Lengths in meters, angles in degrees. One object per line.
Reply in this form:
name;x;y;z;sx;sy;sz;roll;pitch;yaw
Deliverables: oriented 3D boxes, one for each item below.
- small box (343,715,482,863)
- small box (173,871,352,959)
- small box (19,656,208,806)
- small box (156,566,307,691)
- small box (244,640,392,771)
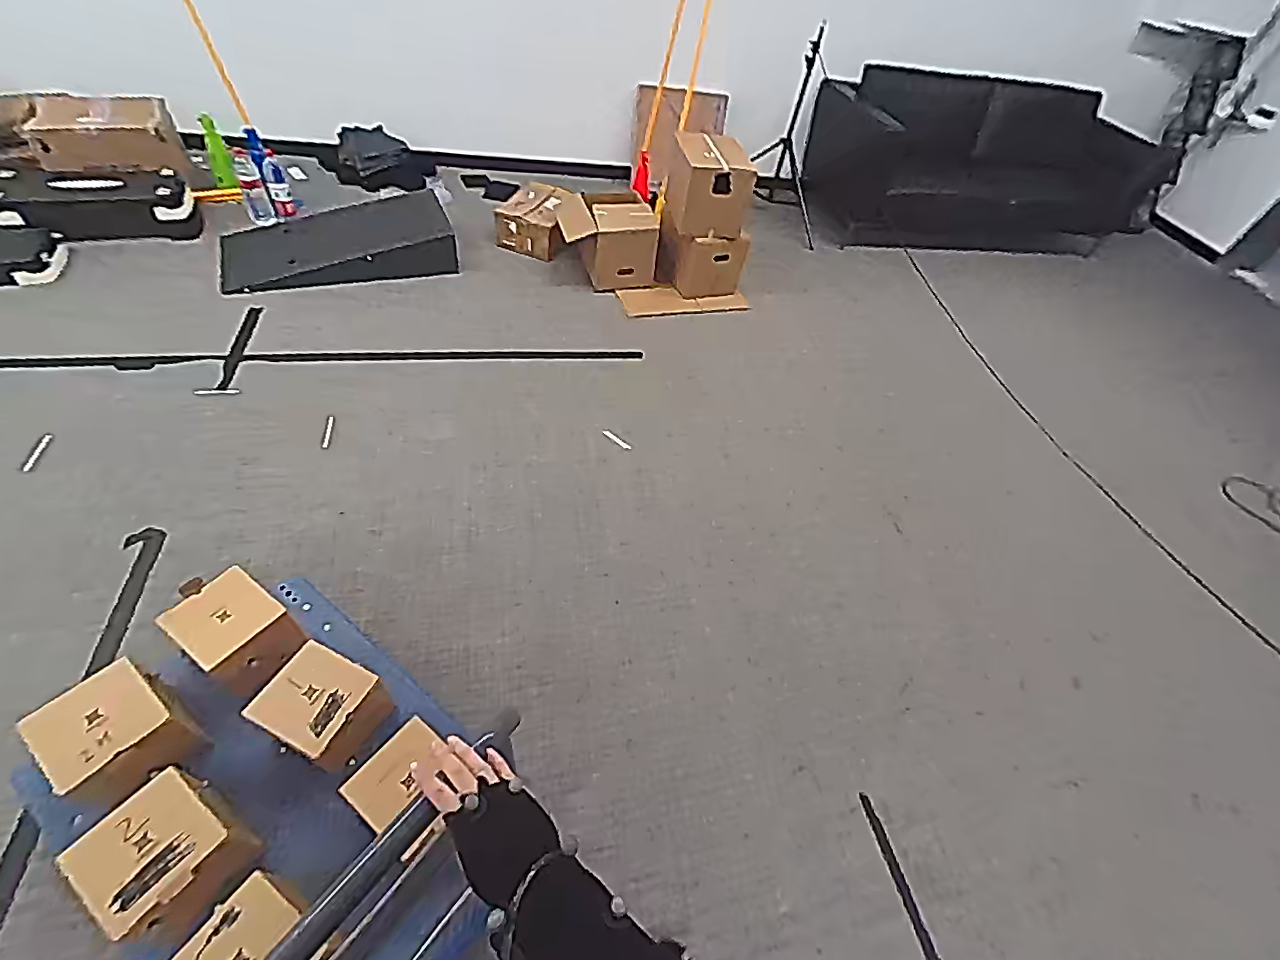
small box;-0.420;0.591;1.028;0.179;0.176;0.168;34;51;17
small box;-0.589;0.757;0.847;0.179;0.176;0.168;31;50;14
small box;-0.966;0.472;1.009;0.179;0.176;0.168;36;52;17
small box;-0.860;0.325;1.159;0.179;0.176;0.168;31;51;15
small box;-0.634;0.461;1.092;0.179;0.176;0.168;24;49;9
